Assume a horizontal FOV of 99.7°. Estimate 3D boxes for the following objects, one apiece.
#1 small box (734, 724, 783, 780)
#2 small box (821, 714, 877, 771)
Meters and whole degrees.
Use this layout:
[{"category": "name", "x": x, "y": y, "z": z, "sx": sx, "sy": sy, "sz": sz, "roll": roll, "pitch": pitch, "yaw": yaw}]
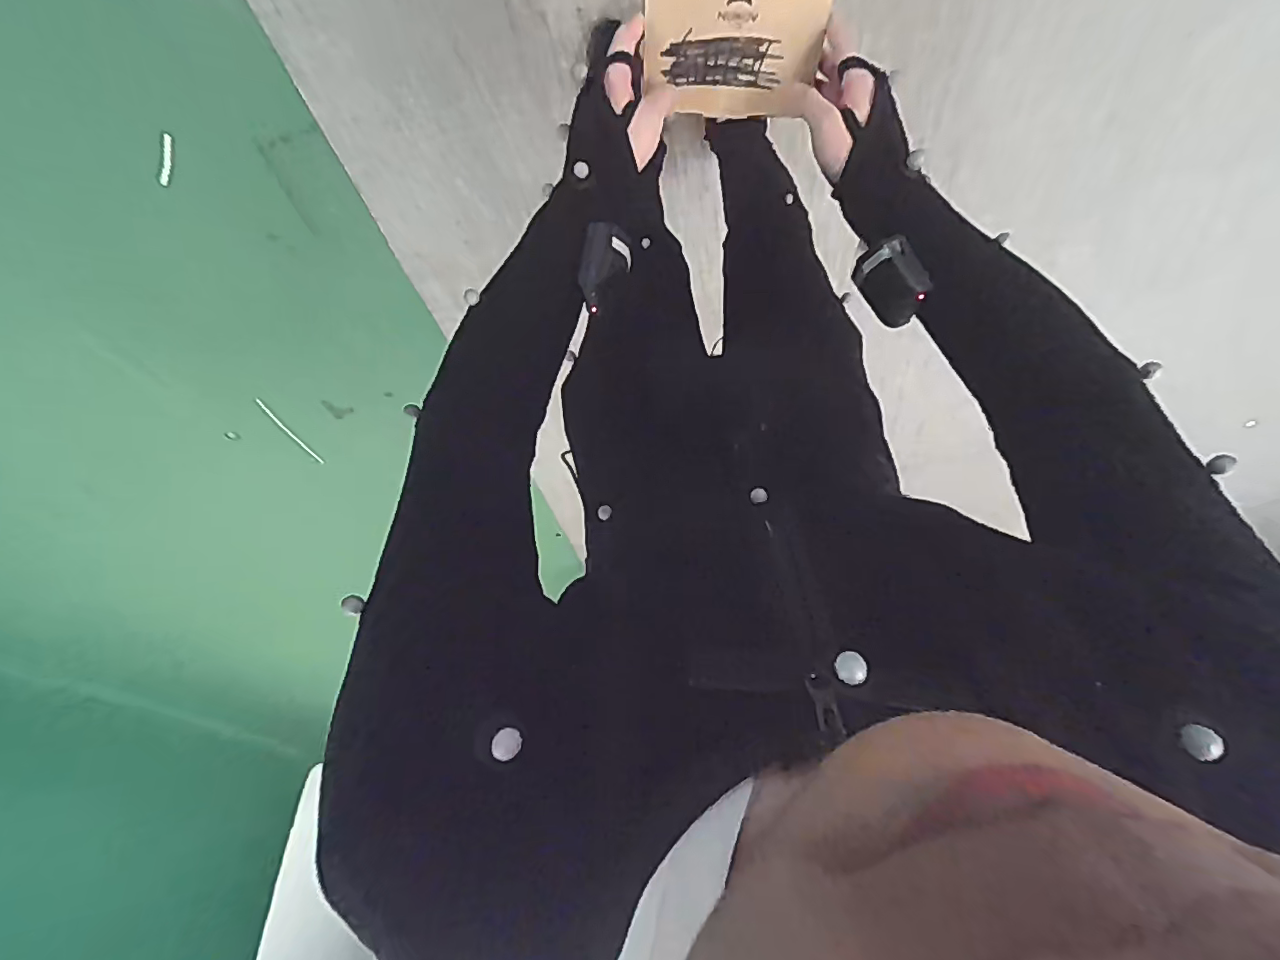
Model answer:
[{"category": "small box", "x": 0.488, "y": 1.121, "z": 2.228, "sx": 0.168, "sy": 0.176, "sz": 0.179, "roll": -11, "pitch": 140, "yaw": 6}, {"category": "small box", "x": 0.838, "y": 1.058, "z": 2.186, "sx": 0.168, "sy": 0.176, "sz": 0.179, "roll": -11, "pitch": 141, "yaw": 8}]
